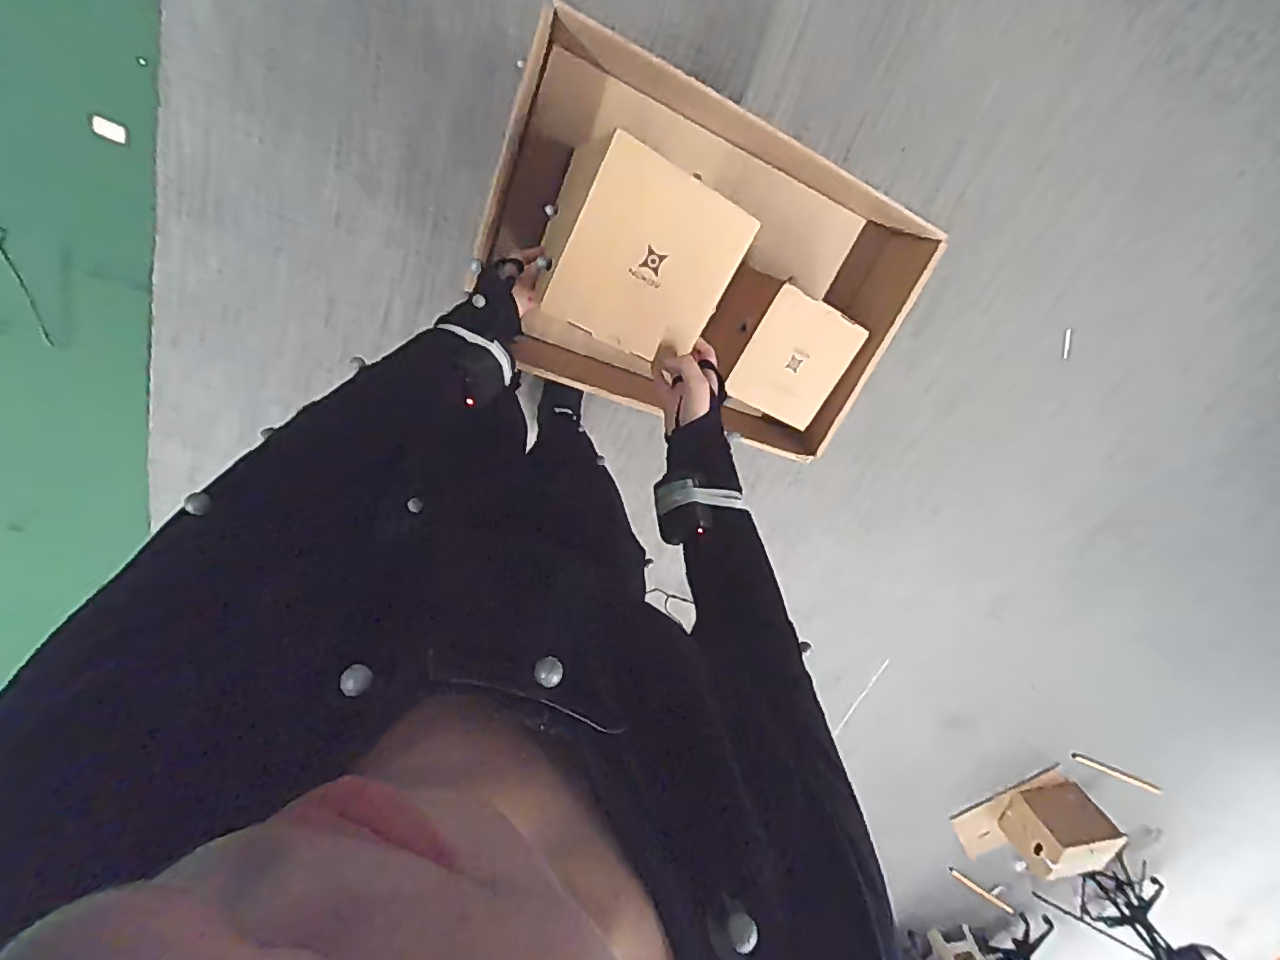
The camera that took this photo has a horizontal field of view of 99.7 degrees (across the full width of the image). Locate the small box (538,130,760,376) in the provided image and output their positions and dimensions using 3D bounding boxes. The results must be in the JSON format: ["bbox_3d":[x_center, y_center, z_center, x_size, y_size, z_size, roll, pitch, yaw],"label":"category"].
[{"bbox_3d":[-0.006,-0.248,0.598,0.168,0.176,0.179,21,112,-23],"label":"small box"}]
